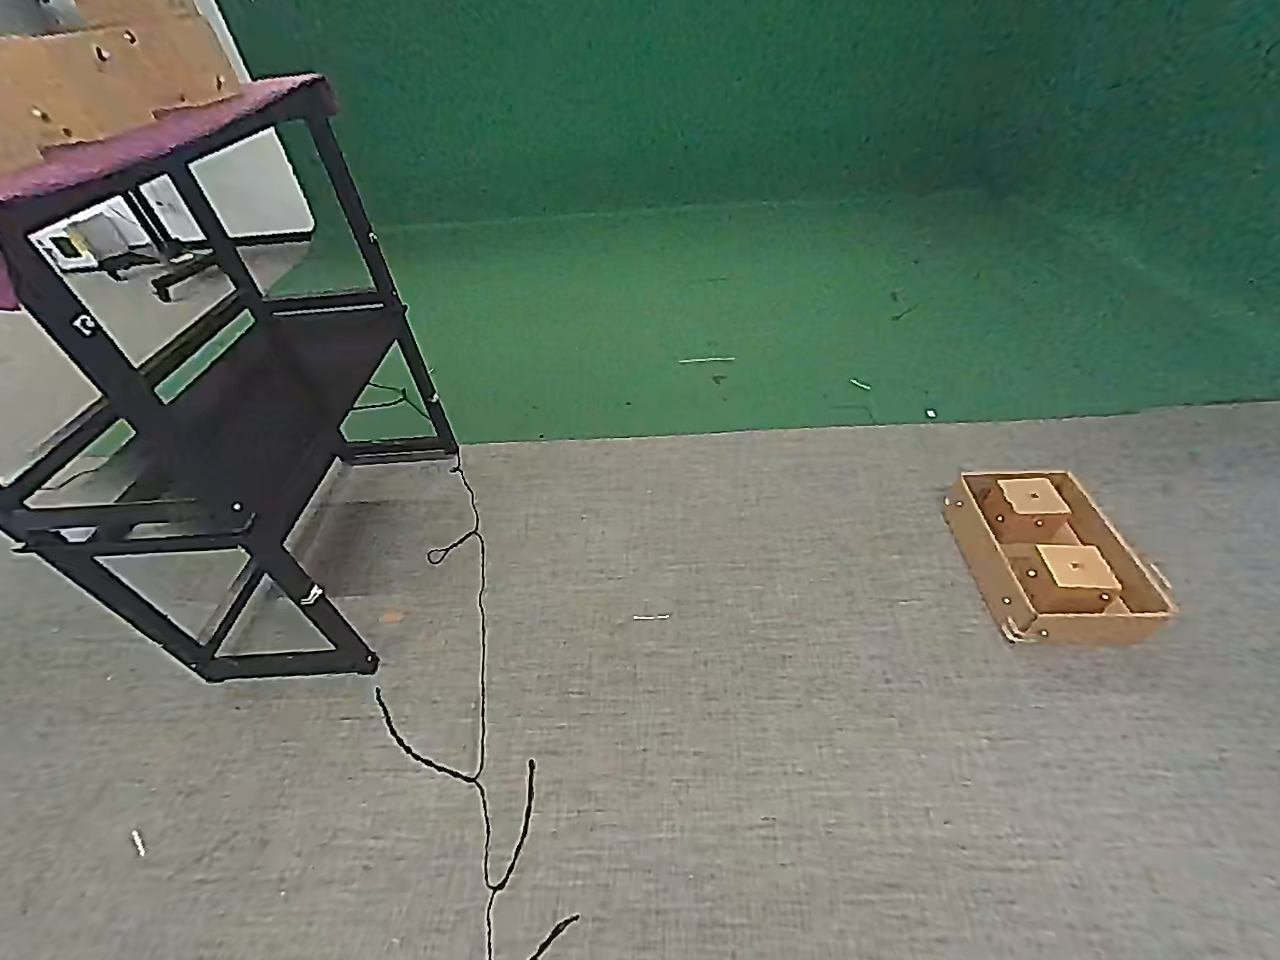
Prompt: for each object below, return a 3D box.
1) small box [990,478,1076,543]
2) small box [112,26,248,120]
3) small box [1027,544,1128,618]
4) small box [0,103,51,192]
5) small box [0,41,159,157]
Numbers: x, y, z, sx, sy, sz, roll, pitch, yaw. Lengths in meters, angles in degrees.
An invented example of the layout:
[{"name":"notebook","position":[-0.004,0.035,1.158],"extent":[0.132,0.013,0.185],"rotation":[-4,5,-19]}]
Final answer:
[{"name":"small box","position":[1.378,0.111,1.916],"extent":[0.179,0.176,0.168],"rotation":[-2,45,4]},{"name":"small box","position":[-1.156,-1.038,1.382],"extent":[0.168,0.176,0.179],"rotation":[-5,43,4]},{"name":"small box","position":[1.359,0.321,1.702],"extent":[0.179,0.176,0.168],"rotation":[1,44,8]},{"name":"small box","position":[-1.142,-0.554,0.870],"extent":[0.168,0.176,0.179],"rotation":[-6,42,1]},{"name":"small box","position":[-1.156,-0.781,1.112],"extent":[0.168,0.176,0.179],"rotation":[-4,44,4]}]
